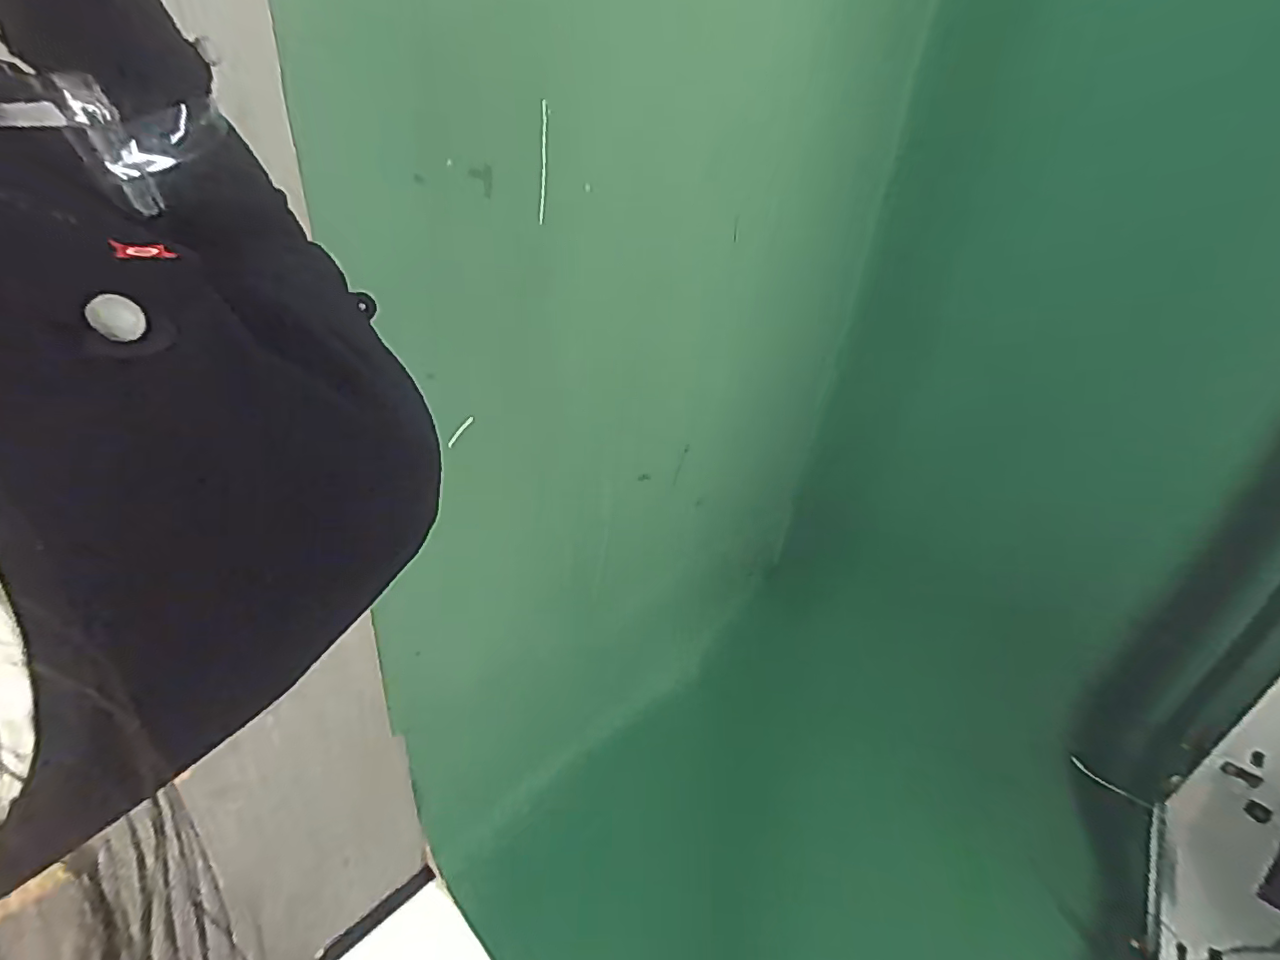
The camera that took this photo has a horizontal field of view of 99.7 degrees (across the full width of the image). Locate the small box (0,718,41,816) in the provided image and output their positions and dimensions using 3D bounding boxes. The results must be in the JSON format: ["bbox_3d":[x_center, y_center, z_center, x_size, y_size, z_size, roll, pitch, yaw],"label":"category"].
[{"bbox_3d":[-1.311,0.596,1.031,0.179,0.176,0.168,-28,134,-41],"label":"small box"}]

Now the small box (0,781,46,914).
[{"bbox_3d":[-1.197,0.668,0.943,0.168,0.176,0.179,-25,133,-39],"label":"small box"}]
